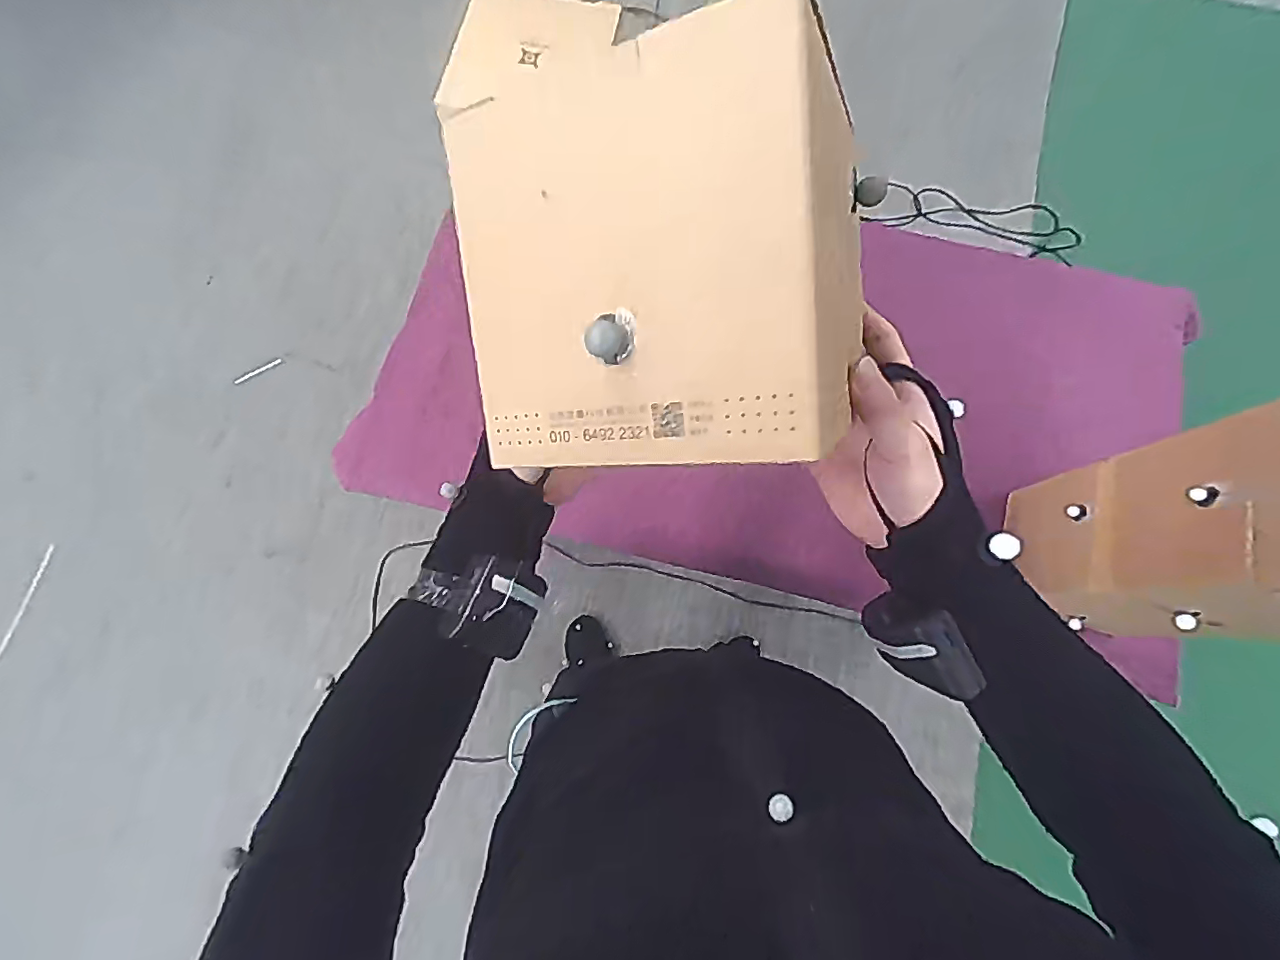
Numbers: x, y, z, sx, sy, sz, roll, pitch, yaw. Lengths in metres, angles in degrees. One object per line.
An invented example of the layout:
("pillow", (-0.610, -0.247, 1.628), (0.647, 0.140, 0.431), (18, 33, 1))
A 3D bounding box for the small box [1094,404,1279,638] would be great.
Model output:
("small box", (0.615, 0.052, 0.552), (0.168, 0.176, 0.179), (17, 77, 5))

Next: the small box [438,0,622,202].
("small box", (-0.115, -0.434, 0.654), (0.168, 0.176, 0.179), (11, 76, 1))

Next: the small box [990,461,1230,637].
("small box", (0.608, 0.095, 0.710), (0.179, 0.176, 0.168), (18, 76, 3))

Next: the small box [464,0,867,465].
("small box", (0.030, -0.107, 0.307), (0.168, 0.179, 0.176), (1, 103, 29))
